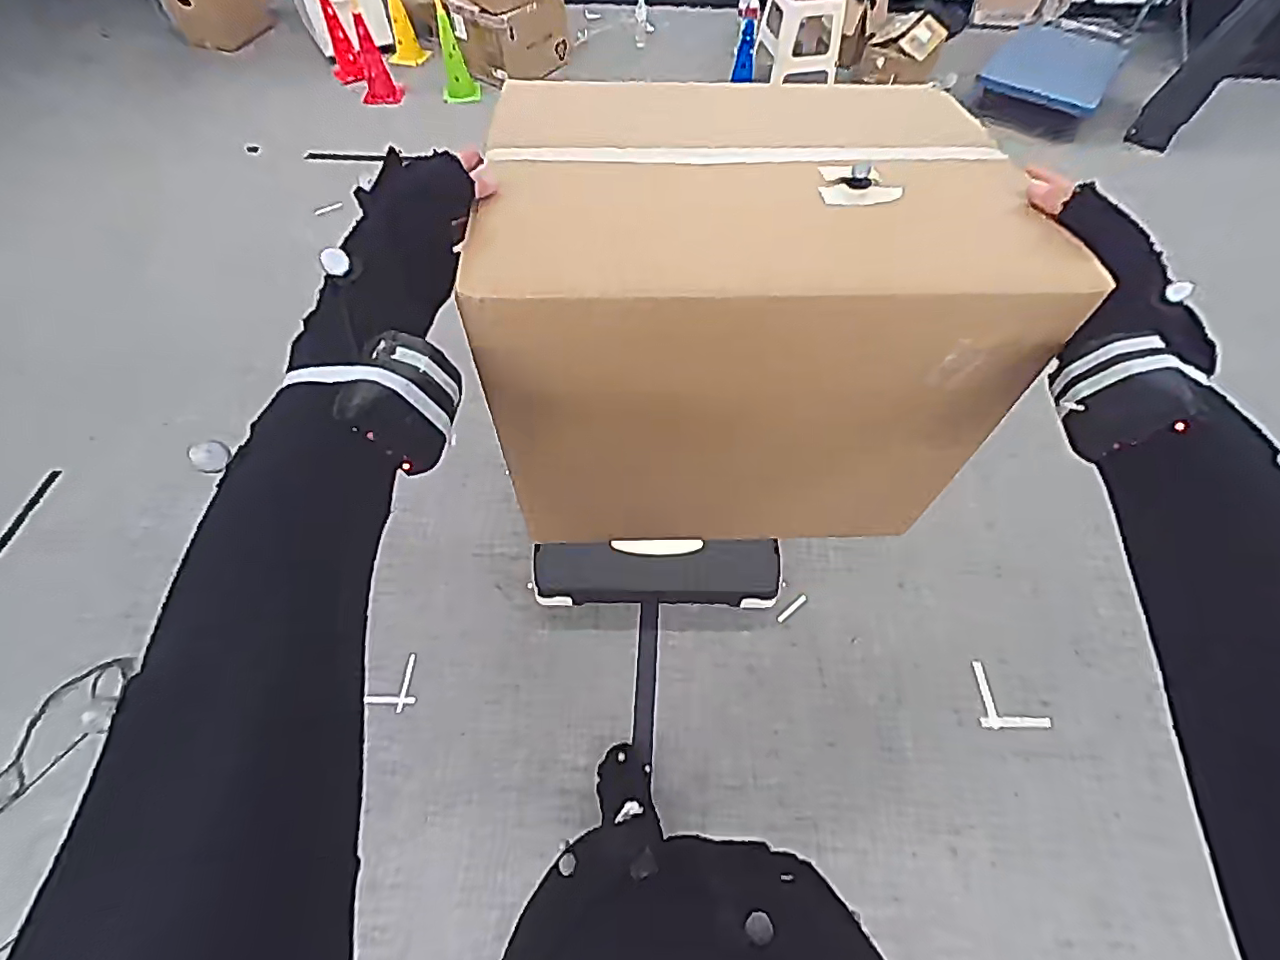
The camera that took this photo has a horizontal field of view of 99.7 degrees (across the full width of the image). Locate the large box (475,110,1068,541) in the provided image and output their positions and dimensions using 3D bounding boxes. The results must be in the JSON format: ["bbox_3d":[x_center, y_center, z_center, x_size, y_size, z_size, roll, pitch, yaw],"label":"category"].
[{"bbox_3d":[0.078,-0.147,0.557,0.408,0.320,0.320,-1,55,-3],"label":"large box"}]
